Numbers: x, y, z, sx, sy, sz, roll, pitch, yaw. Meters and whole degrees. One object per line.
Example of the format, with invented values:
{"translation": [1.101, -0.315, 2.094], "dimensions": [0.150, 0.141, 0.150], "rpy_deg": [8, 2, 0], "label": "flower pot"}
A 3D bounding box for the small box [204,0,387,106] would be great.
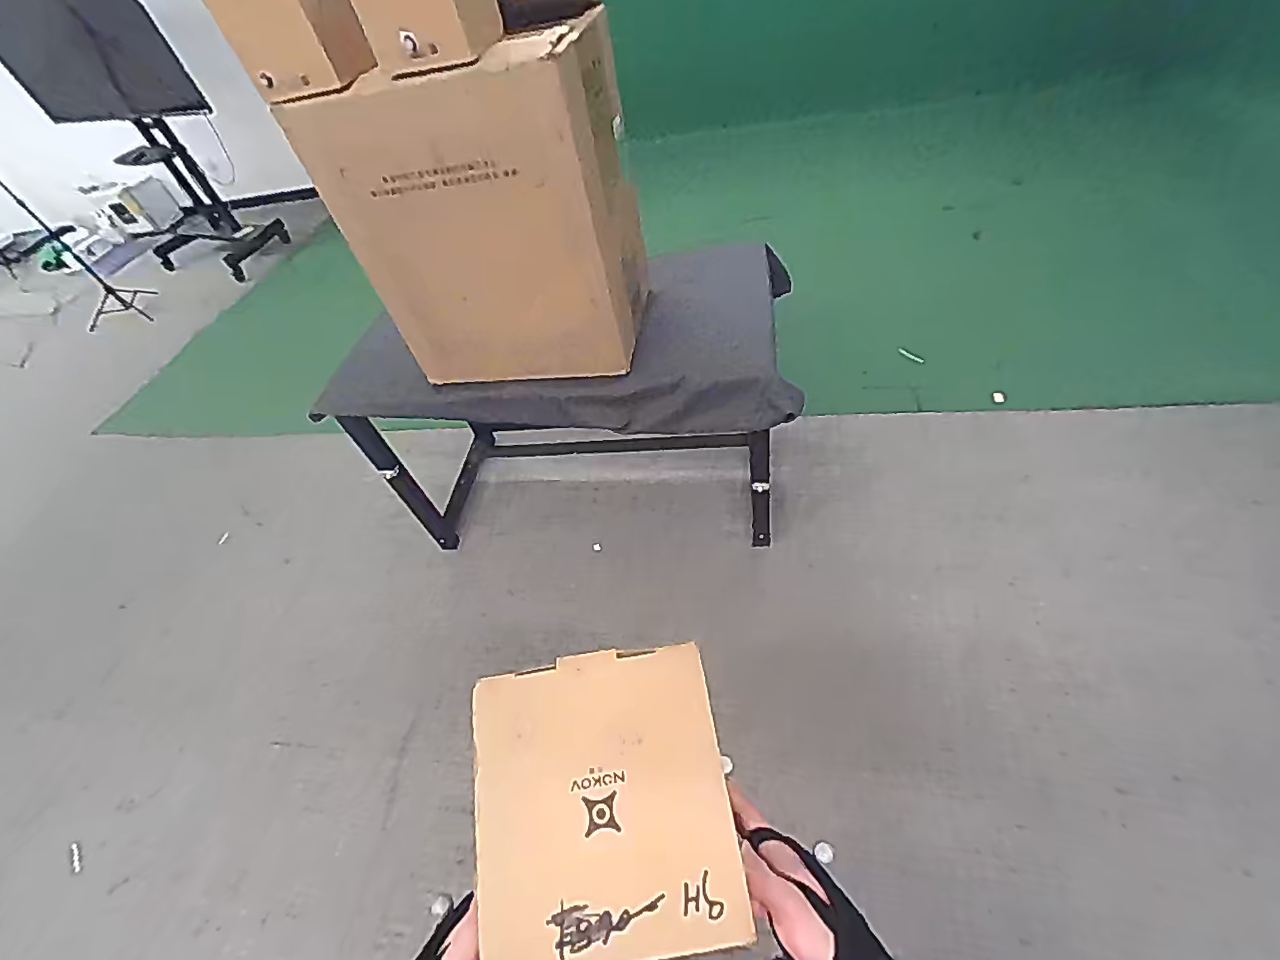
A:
{"translation": [-0.573, -0.766, 0.926], "dimensions": [0.168, 0.176, 0.179], "rpy_deg": [0, 49, 15], "label": "small box"}

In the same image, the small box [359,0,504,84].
{"translation": [-0.339, -0.772, 0.873], "dimensions": [0.168, 0.176, 0.179], "rpy_deg": [-1, 51, 13], "label": "small box"}

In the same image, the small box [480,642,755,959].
{"translation": [-0.019, 0.242, 0.426], "dimensions": [0.168, 0.176, 0.179], "rpy_deg": [-10, 64, 0], "label": "small box"}
